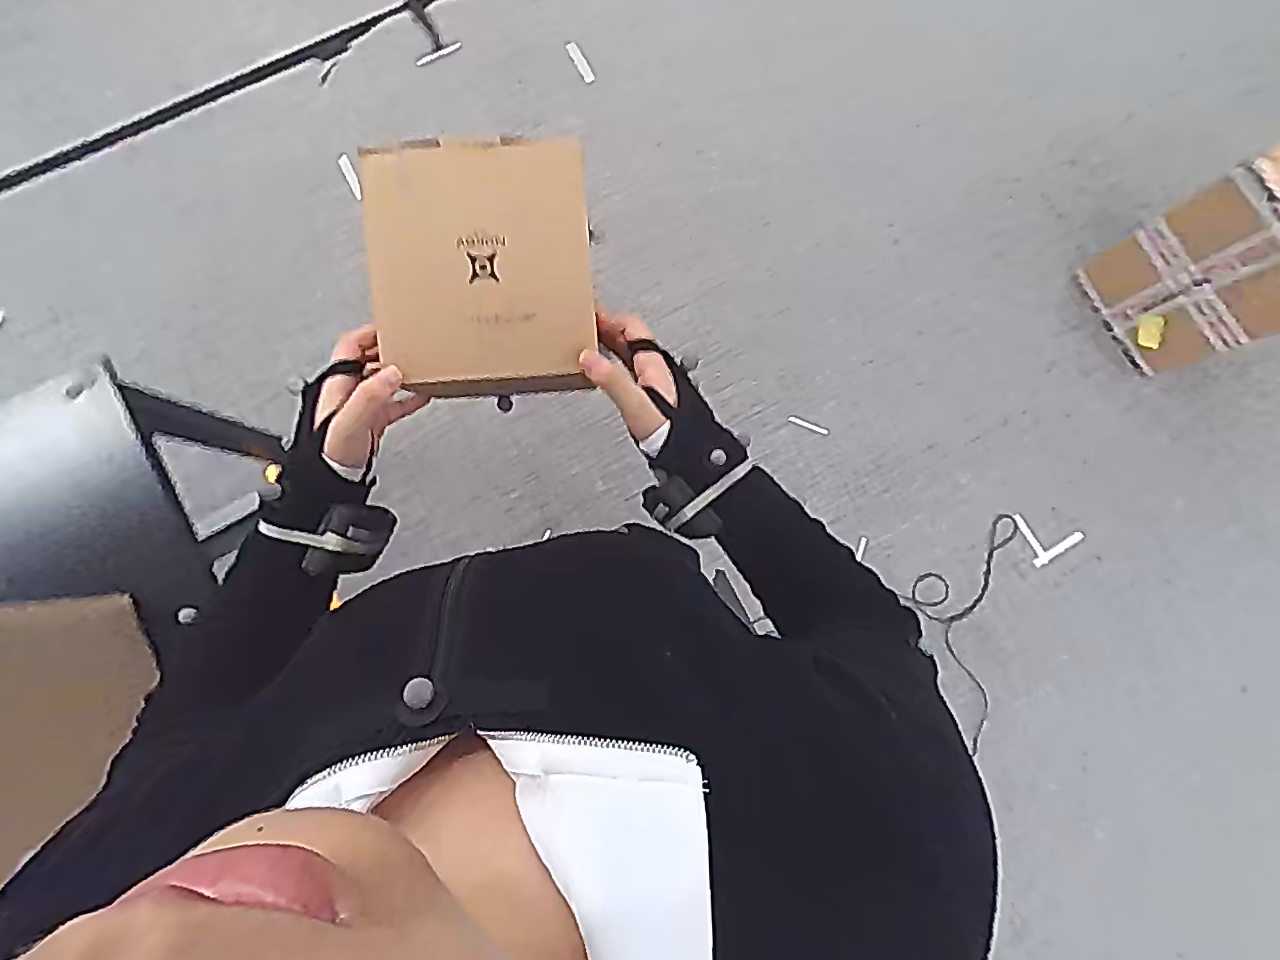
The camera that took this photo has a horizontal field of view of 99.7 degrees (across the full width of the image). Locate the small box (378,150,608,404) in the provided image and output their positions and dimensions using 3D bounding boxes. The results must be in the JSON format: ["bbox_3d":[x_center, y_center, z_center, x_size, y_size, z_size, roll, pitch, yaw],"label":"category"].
[{"bbox_3d":[-0.116,-0.166,0.491,0.168,0.176,0.179,-3,94,-4],"label":"small box"}]
